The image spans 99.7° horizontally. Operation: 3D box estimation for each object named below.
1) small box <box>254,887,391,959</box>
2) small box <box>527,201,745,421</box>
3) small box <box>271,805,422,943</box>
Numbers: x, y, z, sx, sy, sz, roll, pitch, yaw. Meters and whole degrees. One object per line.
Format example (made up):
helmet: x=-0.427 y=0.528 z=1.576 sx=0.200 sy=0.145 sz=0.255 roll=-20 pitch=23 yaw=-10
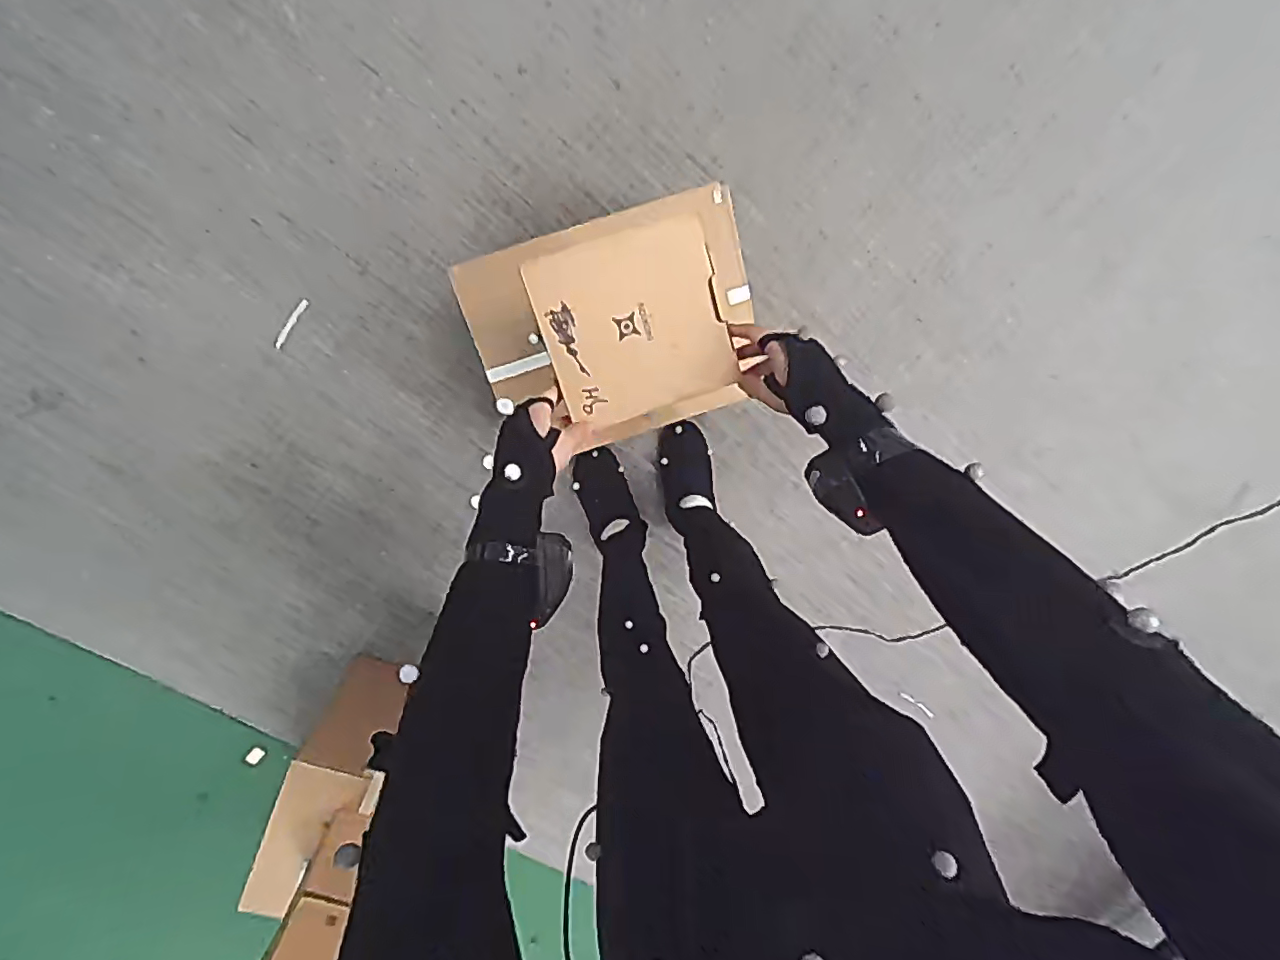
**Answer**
small box: x=-0.500 y=0.763 z=0.802 sx=0.168 sy=0.176 sz=0.179 roll=30 pitch=102 yaw=-15
small box: x=-0.012 y=-0.172 z=0.584 sx=0.179 sy=0.176 sz=0.168 roll=-18 pitch=102 yaw=-5
small box: x=-0.514 y=0.718 z=0.958 sx=0.179 sy=0.176 sz=0.168 roll=28 pitch=103 yaw=-15
